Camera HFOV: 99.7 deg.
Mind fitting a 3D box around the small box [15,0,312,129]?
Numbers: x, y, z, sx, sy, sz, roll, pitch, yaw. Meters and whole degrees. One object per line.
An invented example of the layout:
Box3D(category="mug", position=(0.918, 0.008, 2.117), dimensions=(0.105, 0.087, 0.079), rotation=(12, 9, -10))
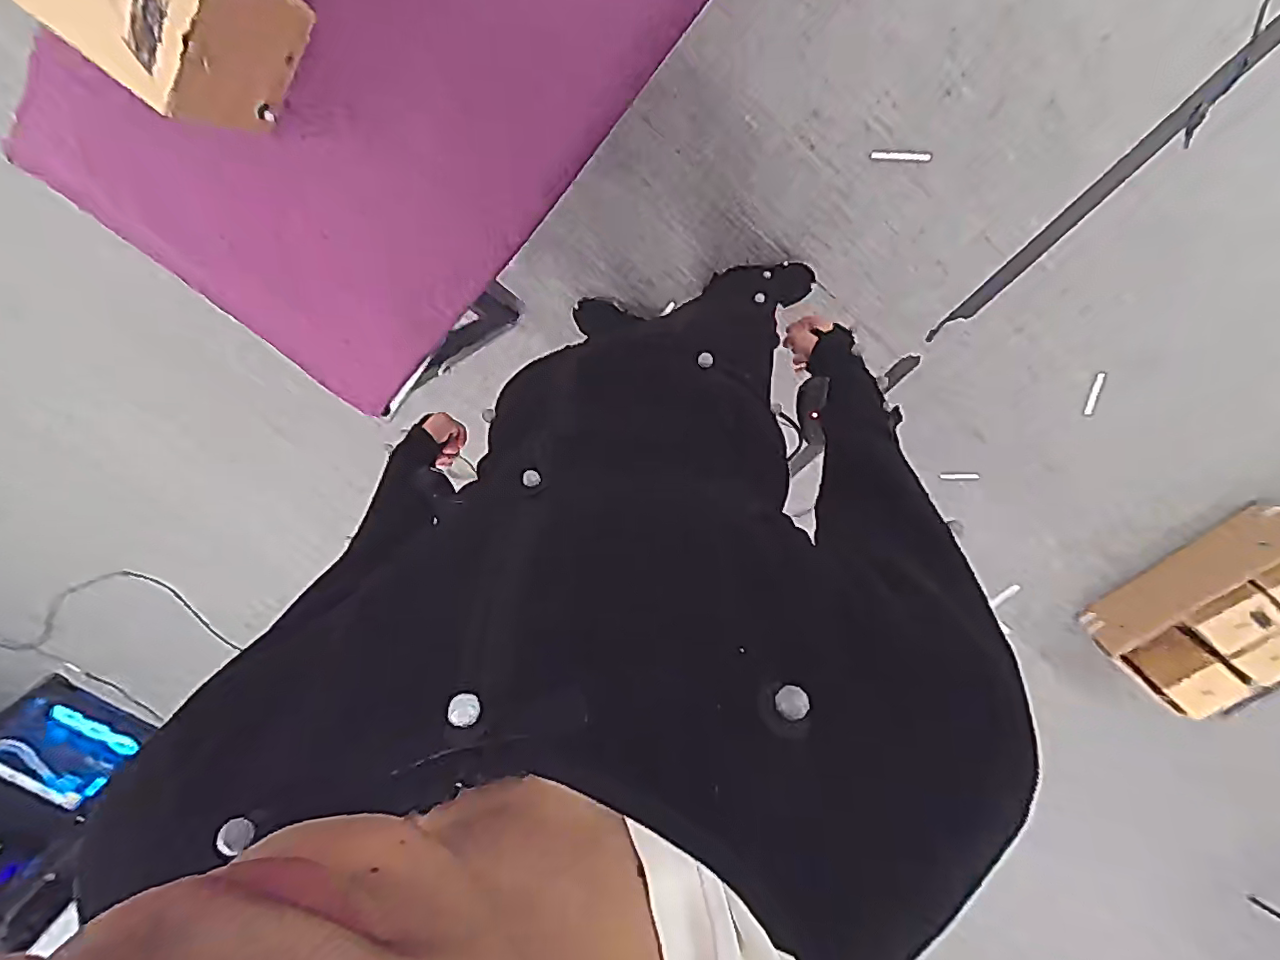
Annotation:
Box3D(category="small box", position=(-0.522, -0.534, 0.613), dimensions=(0.179, 0.176, 0.168), rotation=(37, 112, -12))
